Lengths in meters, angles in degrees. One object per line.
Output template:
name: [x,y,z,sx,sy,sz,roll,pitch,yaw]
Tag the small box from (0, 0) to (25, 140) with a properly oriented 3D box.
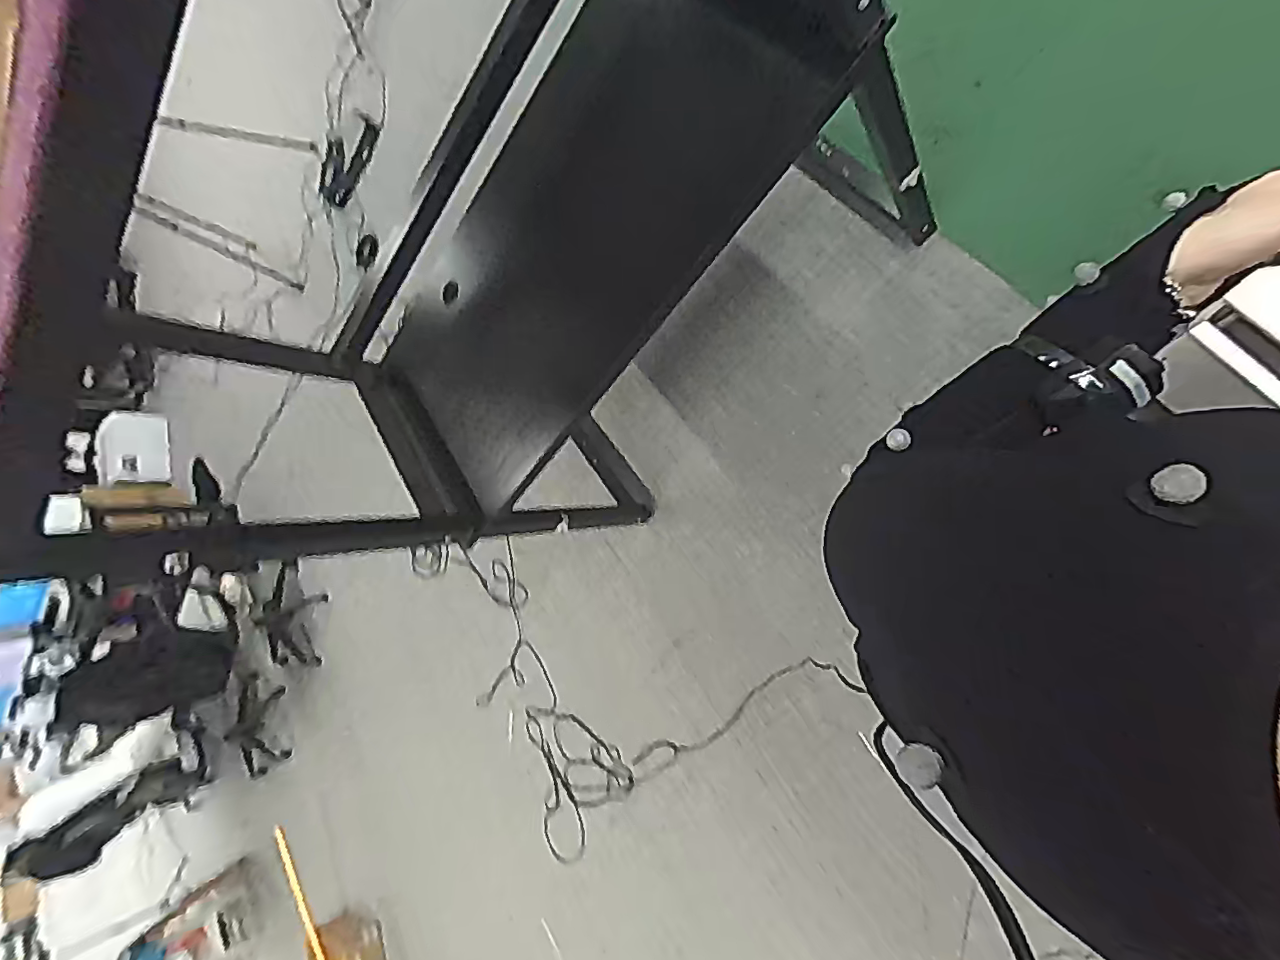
small box: [-0.577,-0.343,0.383,0.168,0.176,0.179,-45,65,24]
